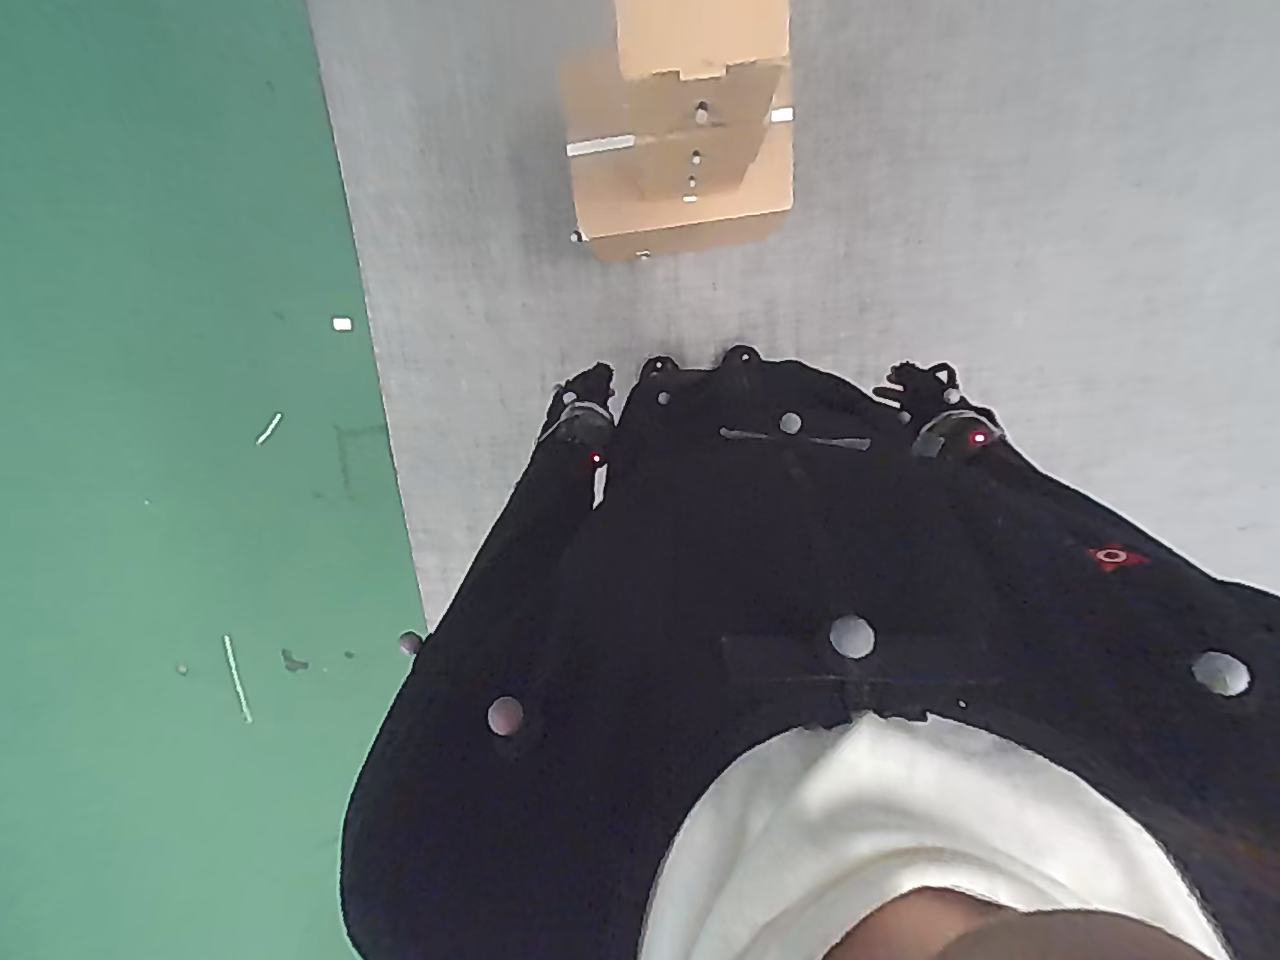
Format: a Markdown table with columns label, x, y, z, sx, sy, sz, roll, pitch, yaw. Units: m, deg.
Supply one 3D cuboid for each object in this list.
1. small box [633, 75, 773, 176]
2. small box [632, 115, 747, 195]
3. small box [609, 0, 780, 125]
| label | x | y | z | sx | sy | sz | roll | pitch | yaw |
| --- | --- | --- | --- | --- | --- | --- | --- | --- | --- |
| small box | 0.074 | -0.540 | 0.741 | 0.179 | 0.176 | 0.168 | -8 | 105 | 6 |
| small box | 0.079 | -0.588 | 0.898 | 0.179 | 0.176 | 0.168 | -4 | 106 | 4 |
| small box | 0.059 | -0.505 | 0.581 | 0.168 | 0.176 | 0.179 | -1 | 106 | 6 |
